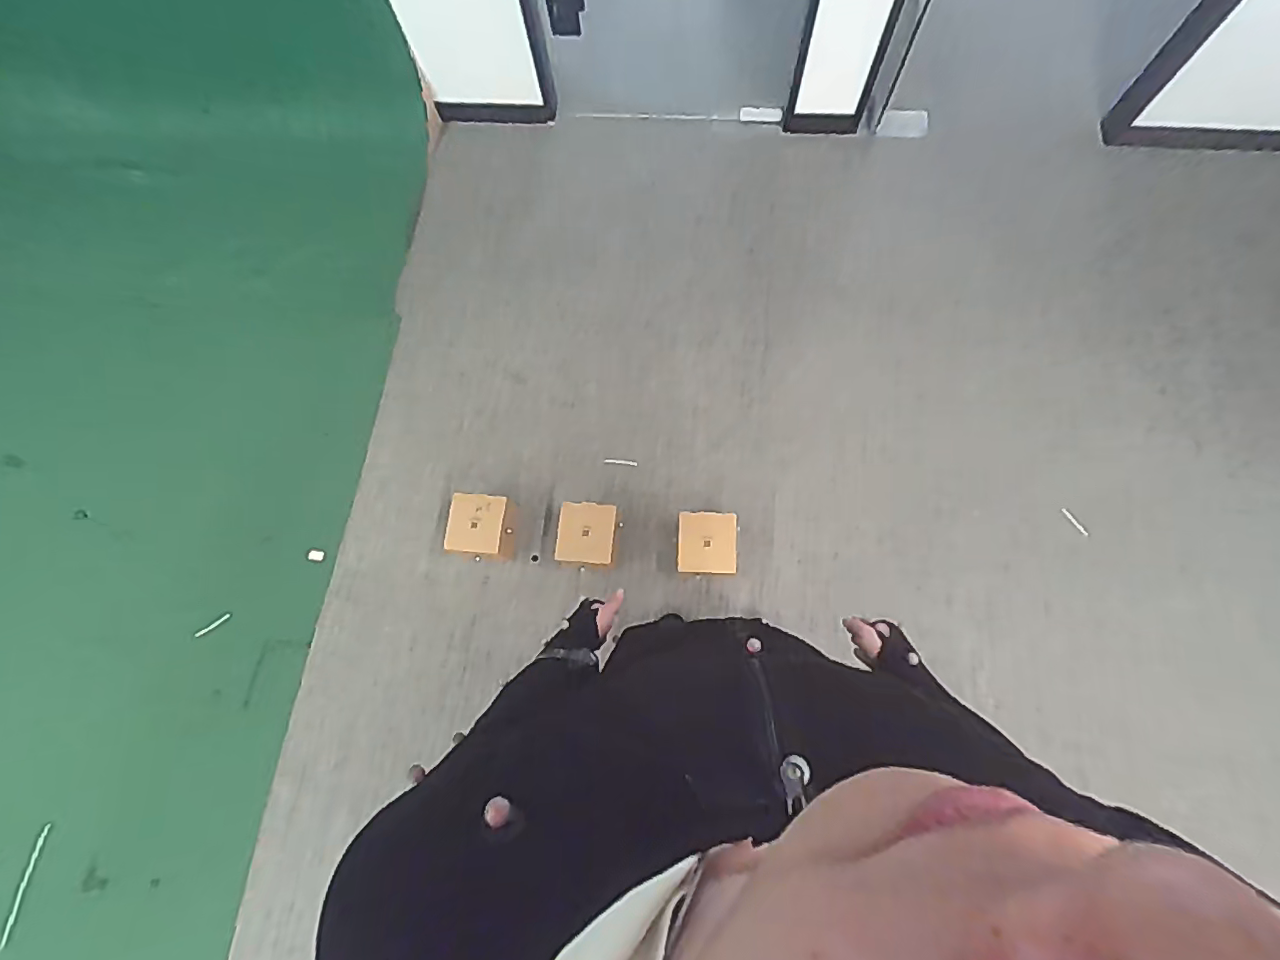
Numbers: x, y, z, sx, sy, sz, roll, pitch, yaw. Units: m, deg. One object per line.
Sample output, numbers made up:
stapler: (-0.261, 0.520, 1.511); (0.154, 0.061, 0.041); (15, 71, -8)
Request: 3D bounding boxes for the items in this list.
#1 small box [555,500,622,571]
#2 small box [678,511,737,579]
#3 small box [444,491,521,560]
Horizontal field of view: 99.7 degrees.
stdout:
small box: (-0.149, 0.170, 1.630); (0.168, 0.176, 0.179); (5, 75, 6)
small box: (0.198, 0.197, 1.599); (0.168, 0.176, 0.179); (2, 73, 4)
small box: (-0.475, 0.144, 1.657); (0.168, 0.176, 0.179); (5, 74, 5)
